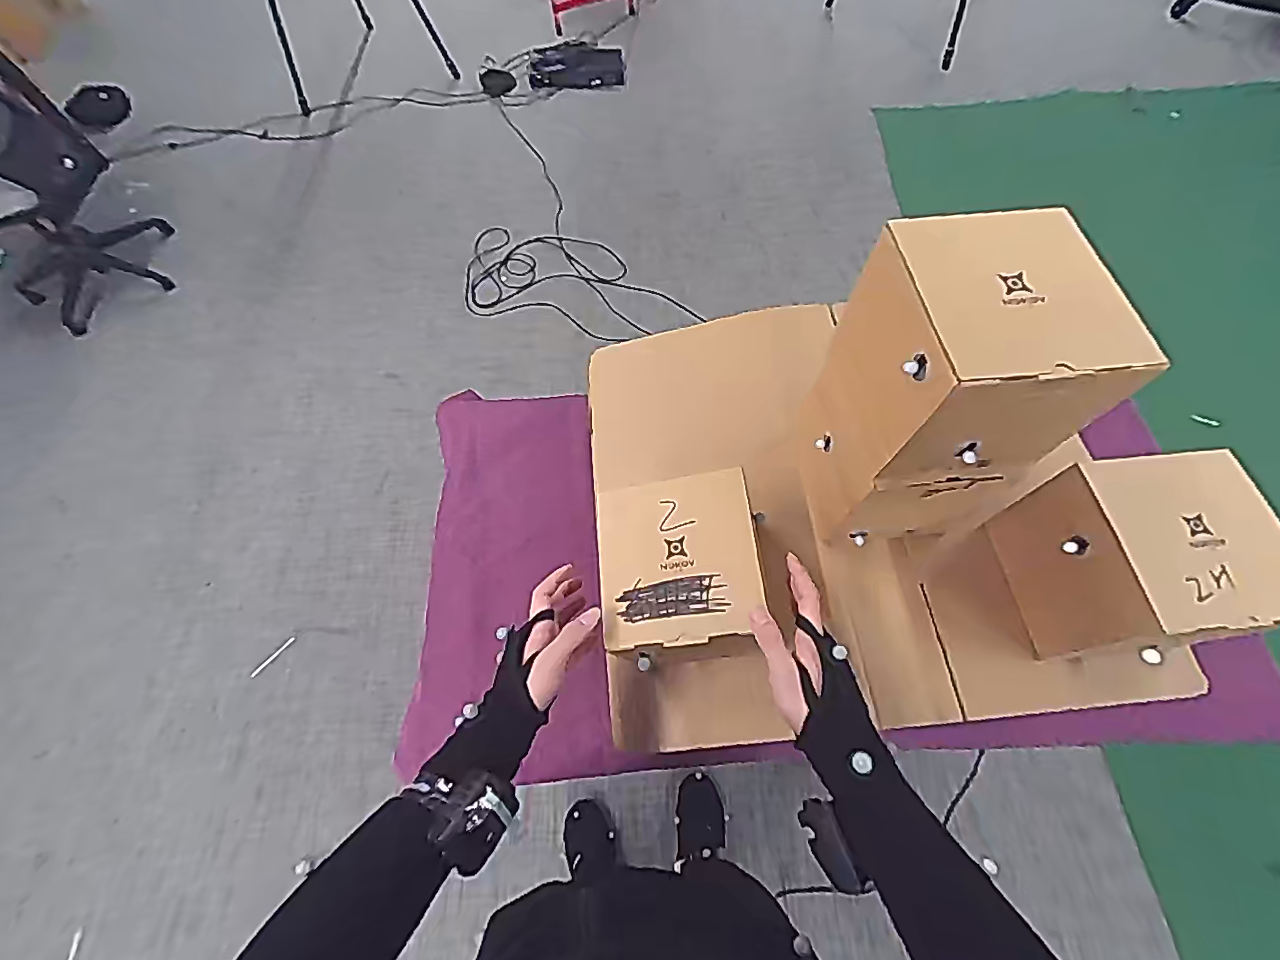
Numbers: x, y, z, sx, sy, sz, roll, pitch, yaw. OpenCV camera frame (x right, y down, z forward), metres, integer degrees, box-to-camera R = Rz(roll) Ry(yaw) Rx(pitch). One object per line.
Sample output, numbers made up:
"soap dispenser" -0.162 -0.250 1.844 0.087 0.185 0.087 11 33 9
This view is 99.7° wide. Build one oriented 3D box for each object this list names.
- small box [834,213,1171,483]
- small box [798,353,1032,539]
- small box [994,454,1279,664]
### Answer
"small box" 0.302 -0.115 0.502 0.168 0.176 0.179 -5 64 -4
"small box" 0.304 -0.036 0.644 0.168 0.176 0.179 -4 63 -3
"small box" 0.529 0.091 0.583 0.168 0.176 0.179 -4 64 -2
